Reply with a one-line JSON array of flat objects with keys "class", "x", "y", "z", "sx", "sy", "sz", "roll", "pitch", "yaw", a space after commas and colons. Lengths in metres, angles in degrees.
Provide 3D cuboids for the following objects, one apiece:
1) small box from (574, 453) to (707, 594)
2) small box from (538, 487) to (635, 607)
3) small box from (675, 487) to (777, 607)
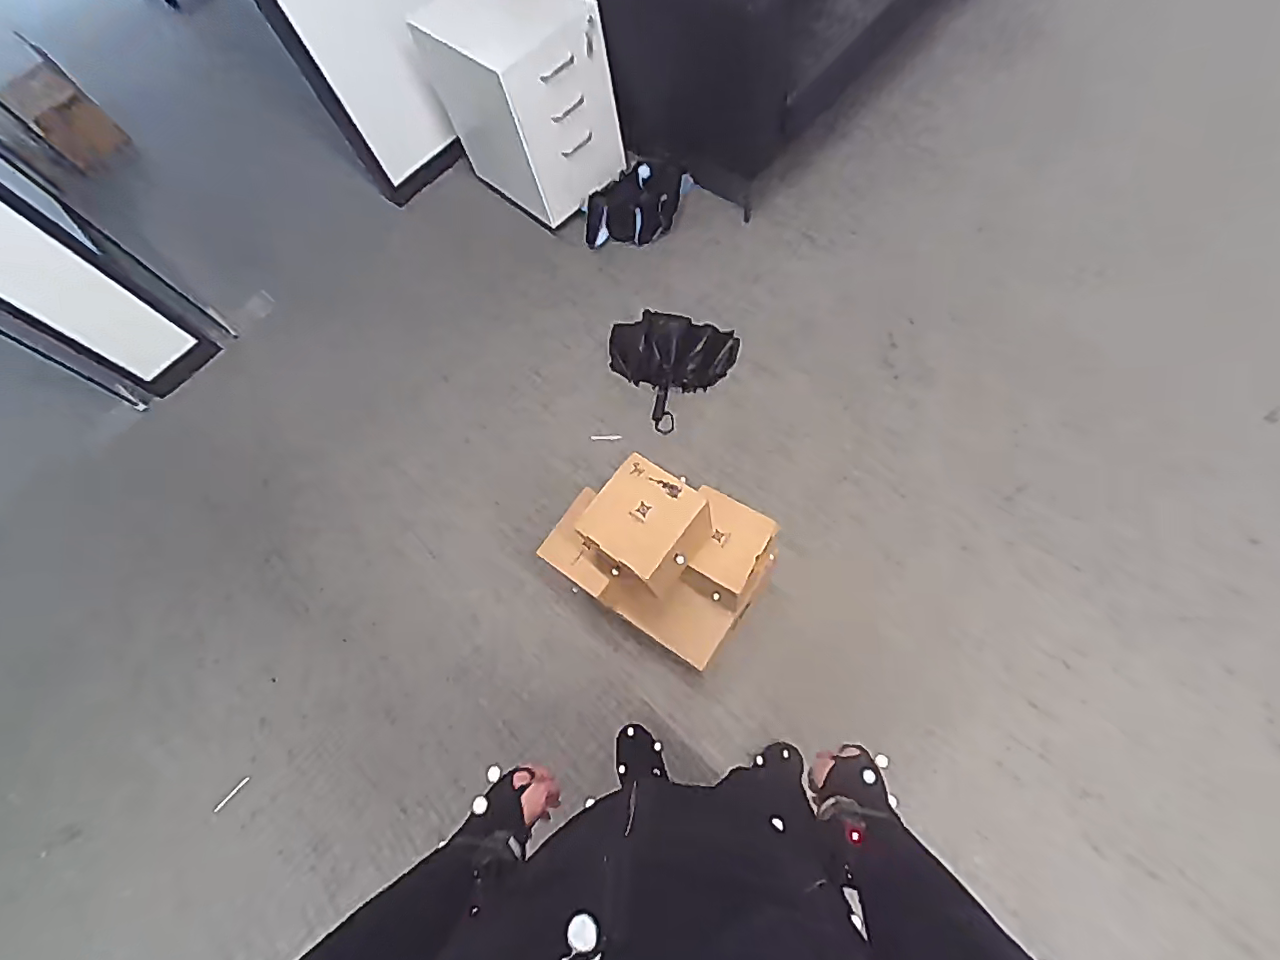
[{"class": "small box", "x": 0.012, "y": 0.088, "z": 0.994, "sx": 0.168, "sy": 0.176, "sz": 0.179, "roll": 34, "pitch": 77, "yaw": 21}, {"class": "small box", "x": -0.084, "y": 0.149, "z": 1.166, "sx": 0.168, "sy": 0.176, "sz": 0.179, "roll": 33, "pitch": 78, "yaw": 21}, {"class": "small box", "x": 0.164, "y": 0.147, "z": 1.127, "sx": 0.179, "sy": 0.176, "sz": 0.168, "roll": 28, "pitch": 71, "yaw": 21}]
